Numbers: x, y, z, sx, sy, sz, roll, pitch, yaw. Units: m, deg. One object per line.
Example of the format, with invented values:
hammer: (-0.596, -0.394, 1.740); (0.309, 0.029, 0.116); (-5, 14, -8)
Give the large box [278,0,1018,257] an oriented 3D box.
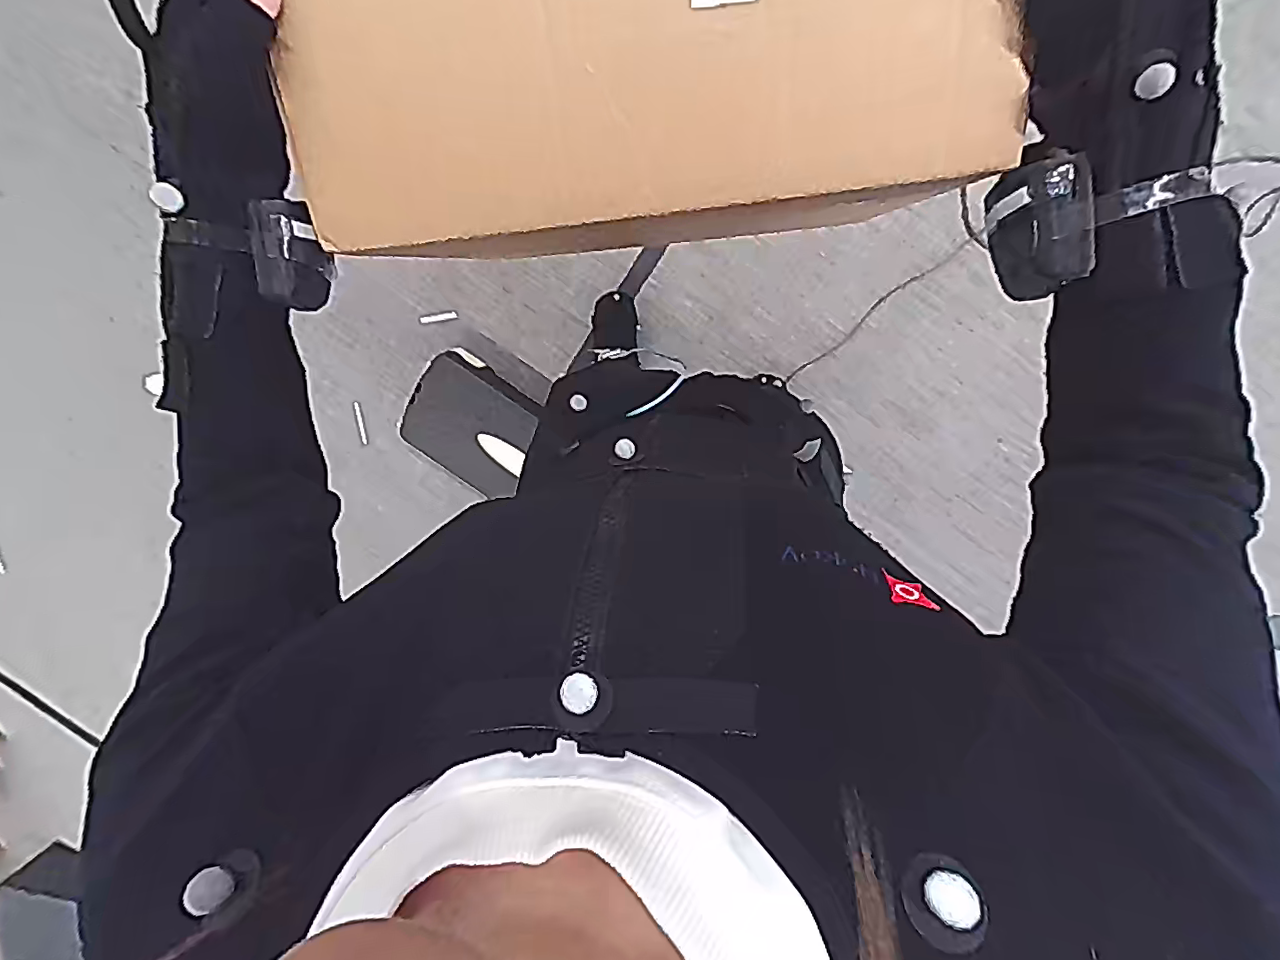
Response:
large box: (0.003, -0.362, 0.410); (0.408, 0.320, 0.320); (-3, 111, 9)
